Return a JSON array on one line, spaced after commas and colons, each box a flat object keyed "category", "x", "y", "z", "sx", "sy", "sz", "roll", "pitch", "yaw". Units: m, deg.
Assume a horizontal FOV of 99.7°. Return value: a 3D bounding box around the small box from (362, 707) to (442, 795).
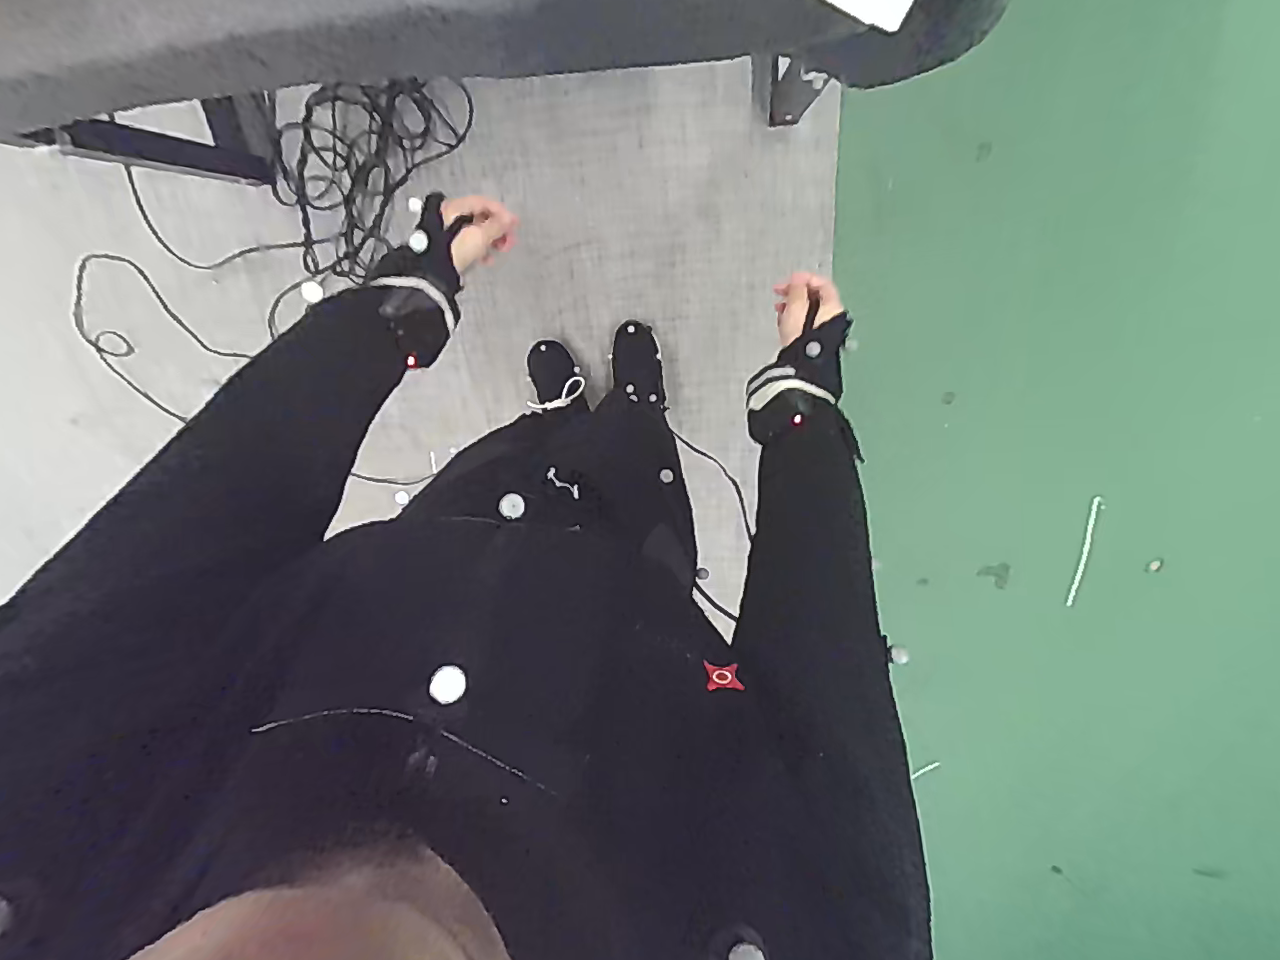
[{"category": "small box", "x": -0.749, "y": 0.849, "z": 1.709, "sx": 0.179, "sy": 0.176, "sz": 0.168, "roll": 13, "pitch": 113, "yaw": -2}]
